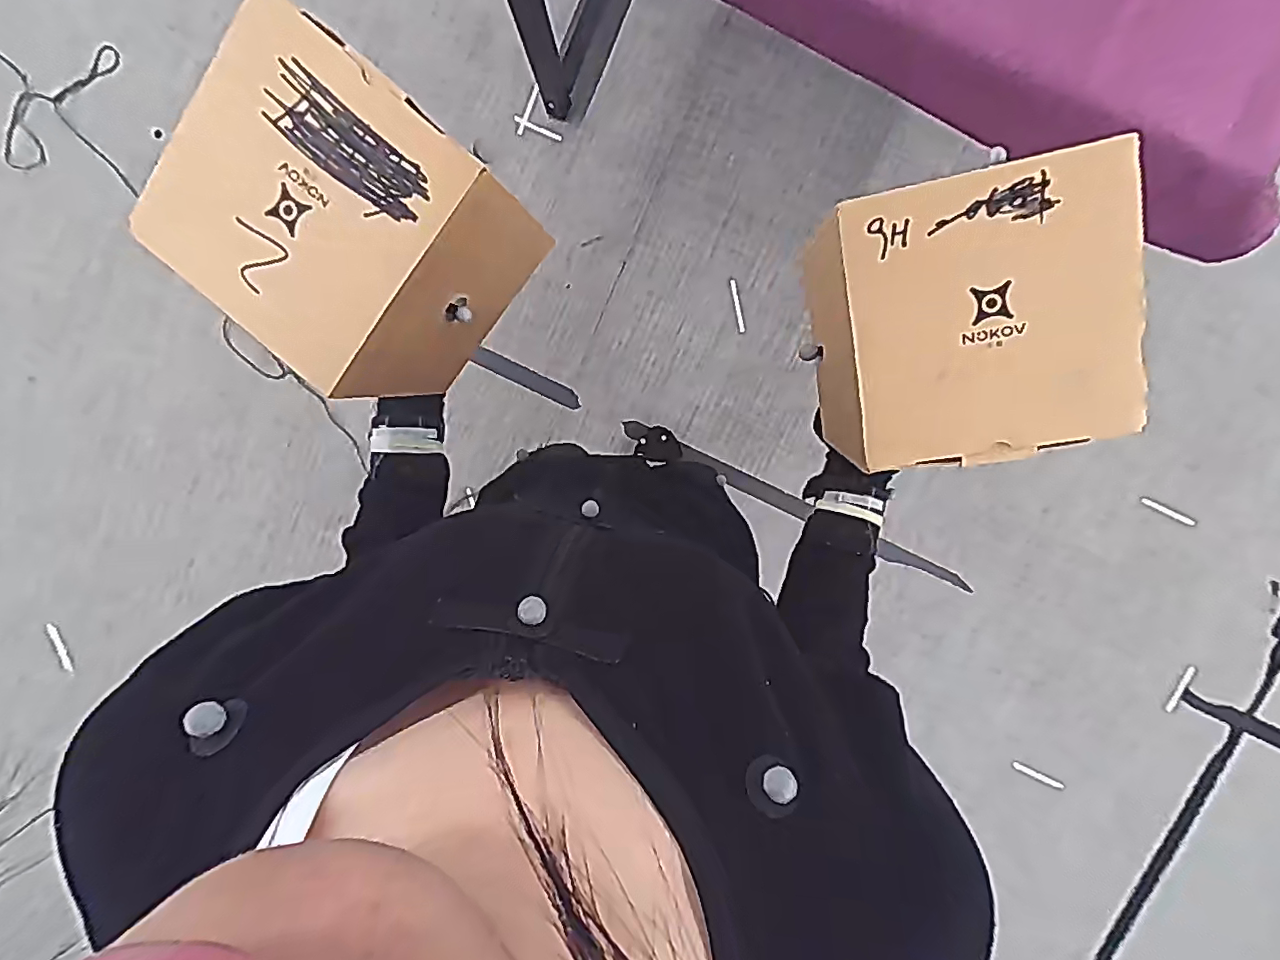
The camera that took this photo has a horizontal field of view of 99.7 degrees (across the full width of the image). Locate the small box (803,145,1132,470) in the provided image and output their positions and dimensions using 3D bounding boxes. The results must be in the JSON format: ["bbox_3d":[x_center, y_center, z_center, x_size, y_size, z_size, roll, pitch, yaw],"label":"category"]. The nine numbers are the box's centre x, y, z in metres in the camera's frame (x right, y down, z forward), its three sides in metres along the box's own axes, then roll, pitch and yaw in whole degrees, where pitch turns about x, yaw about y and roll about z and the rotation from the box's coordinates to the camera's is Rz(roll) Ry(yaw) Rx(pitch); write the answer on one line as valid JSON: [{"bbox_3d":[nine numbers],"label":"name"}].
[{"bbox_3d":[0.229,-0.118,0.420,0.168,0.176,0.179,-9,101,10],"label":"small box"}]
